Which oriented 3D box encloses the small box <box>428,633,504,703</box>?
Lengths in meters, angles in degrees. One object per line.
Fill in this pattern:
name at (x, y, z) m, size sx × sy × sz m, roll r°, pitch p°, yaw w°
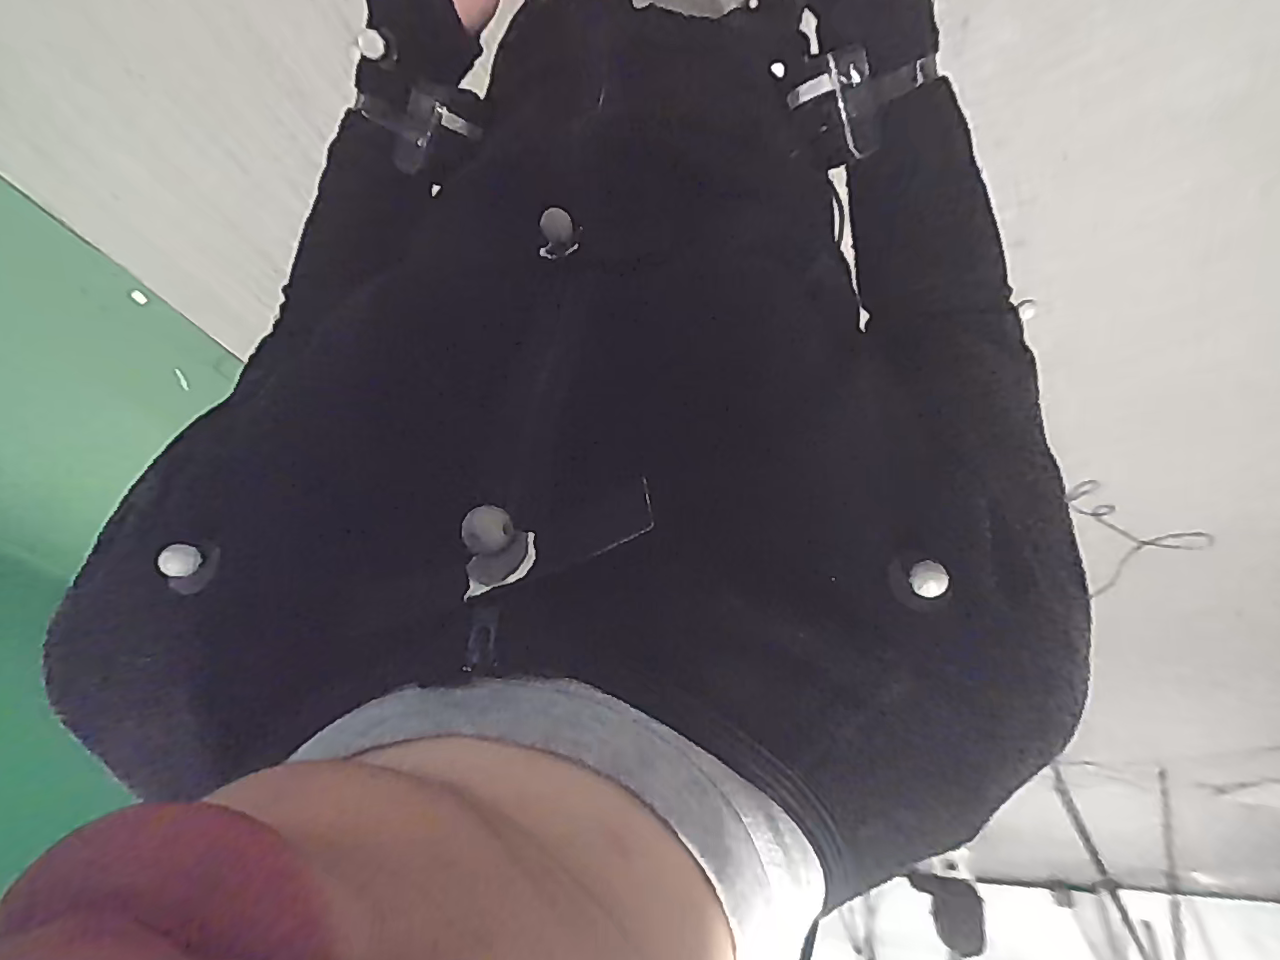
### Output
small box at (-0.569, 0.625, 1.807) m, size 0.179 × 0.176 × 0.168 m, roll 2°, pitch 139°, yaw 12°
